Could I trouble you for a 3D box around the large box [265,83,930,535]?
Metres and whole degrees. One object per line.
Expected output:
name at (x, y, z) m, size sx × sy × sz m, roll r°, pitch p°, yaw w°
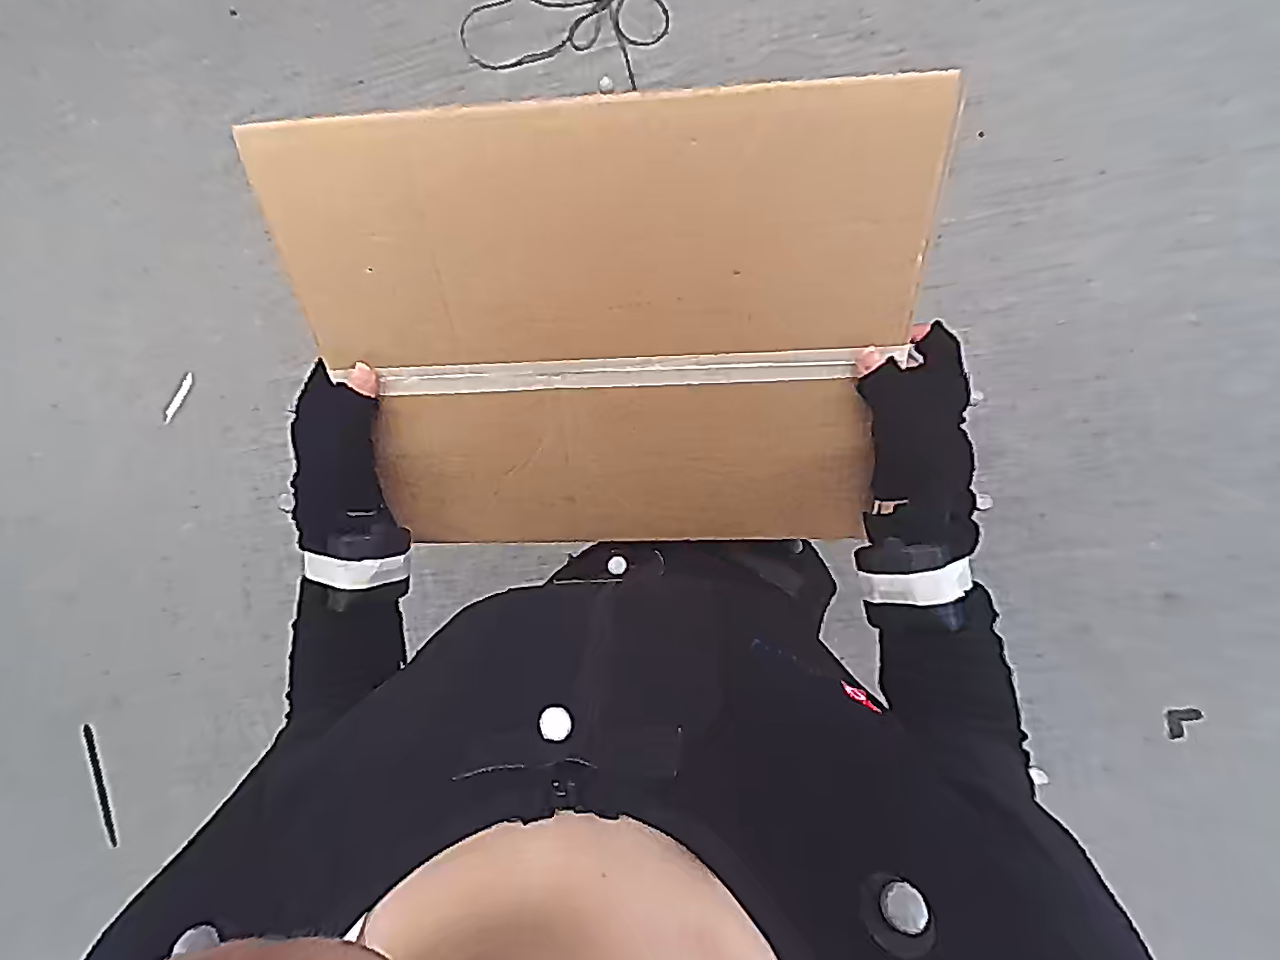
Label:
large box at (-0.014, -0.167, 0.518) m, size 0.408 × 0.320 × 0.320 m, roll -2°, pitch 124°, yaw 5°
